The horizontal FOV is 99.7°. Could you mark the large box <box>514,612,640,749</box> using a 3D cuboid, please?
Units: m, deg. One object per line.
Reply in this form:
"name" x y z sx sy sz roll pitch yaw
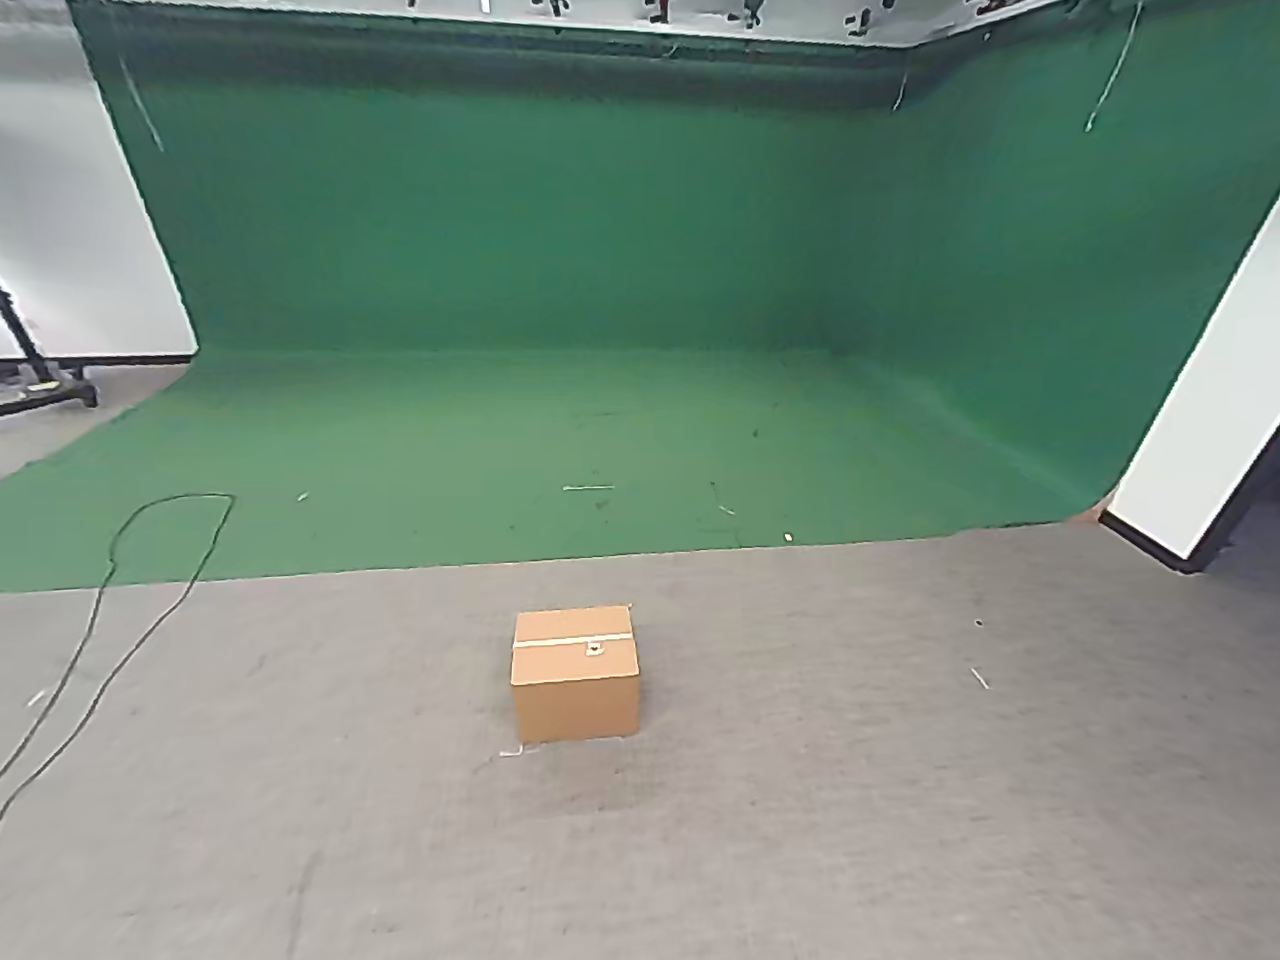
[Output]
"large box" -0.220 0.694 1.890 0.408 0.320 0.320 -2 30 -7
